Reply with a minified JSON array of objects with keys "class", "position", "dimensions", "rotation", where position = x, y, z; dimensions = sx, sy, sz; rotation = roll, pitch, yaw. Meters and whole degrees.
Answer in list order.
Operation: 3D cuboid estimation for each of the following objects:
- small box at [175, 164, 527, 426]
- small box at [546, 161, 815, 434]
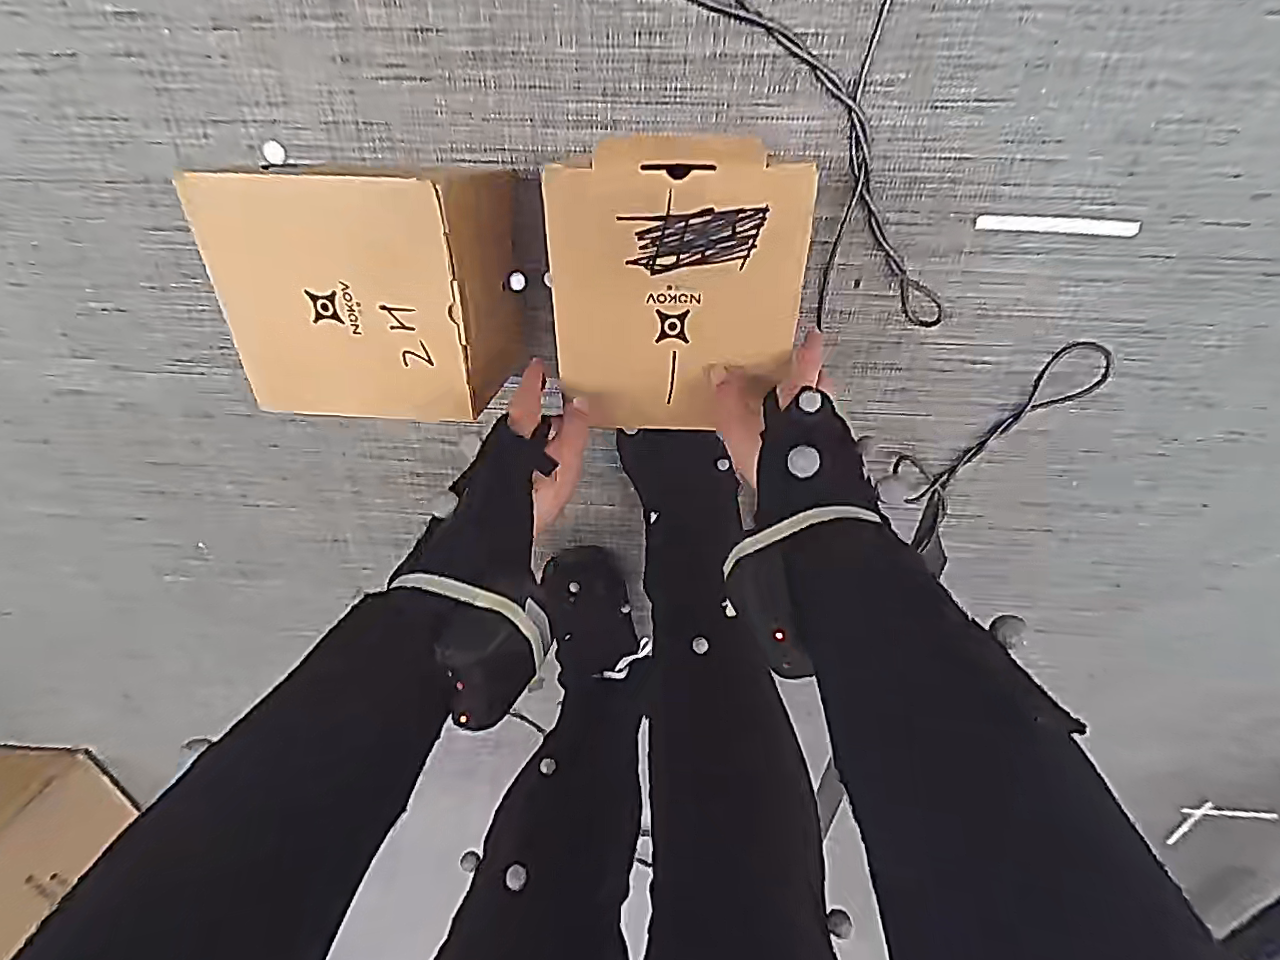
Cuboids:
[{"class":"small box","position":[-0.204,-0.159,0.444],"dimensions":[0.179,0.176,0.168],"rotation":[4,122,3]},{"class":"small box","position":[0.026,-0.153,0.432],"dimensions":[0.168,0.176,0.179],"rotation":[2,122,3]}]
